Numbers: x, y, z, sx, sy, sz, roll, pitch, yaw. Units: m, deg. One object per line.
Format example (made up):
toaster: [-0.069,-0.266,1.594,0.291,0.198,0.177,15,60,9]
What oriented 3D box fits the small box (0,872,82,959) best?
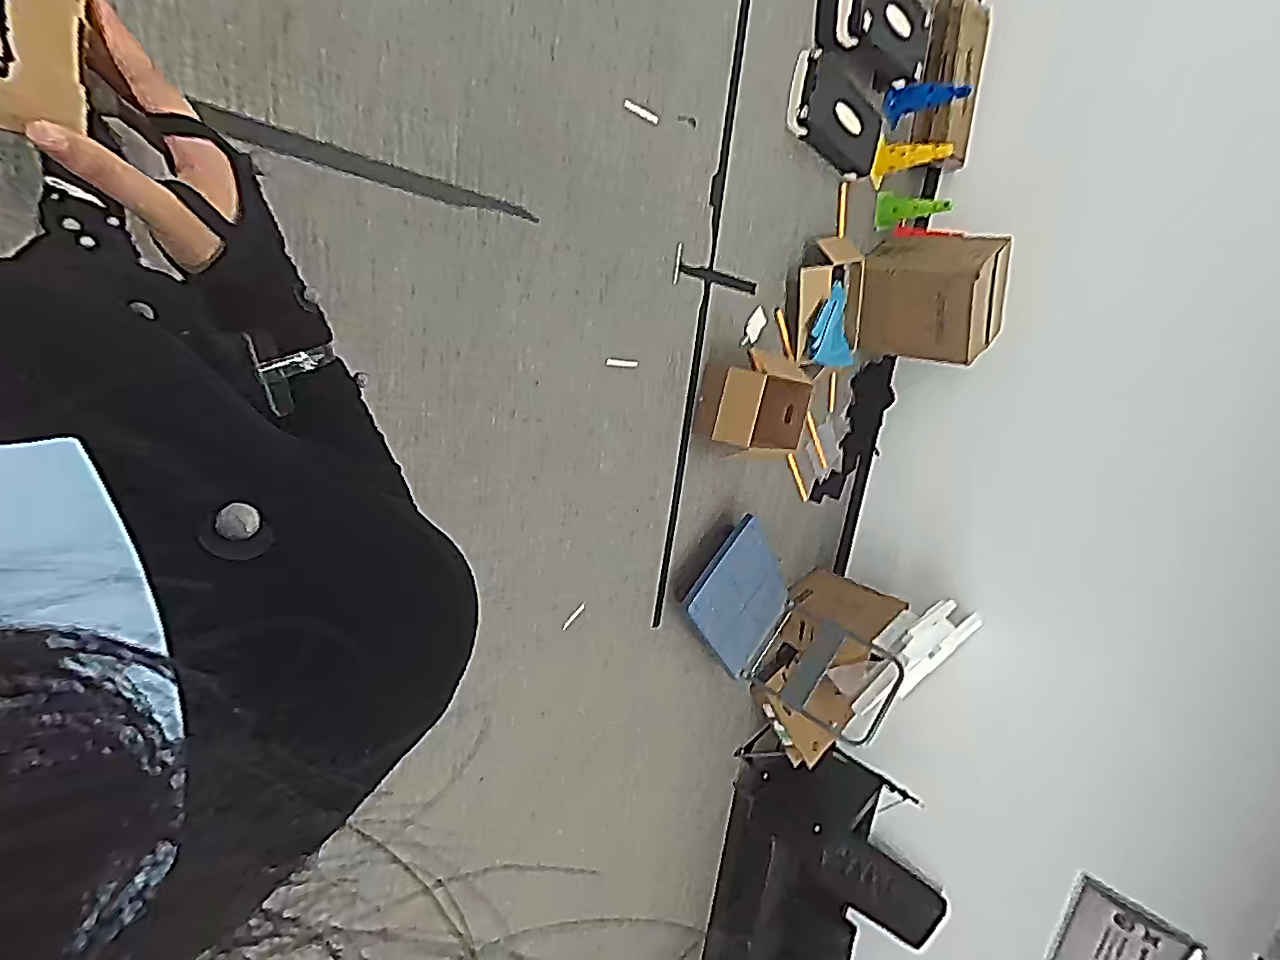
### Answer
small box: [-1.160,0.888,0.998,0.168,0.176,0.179,-10,112,-44]
